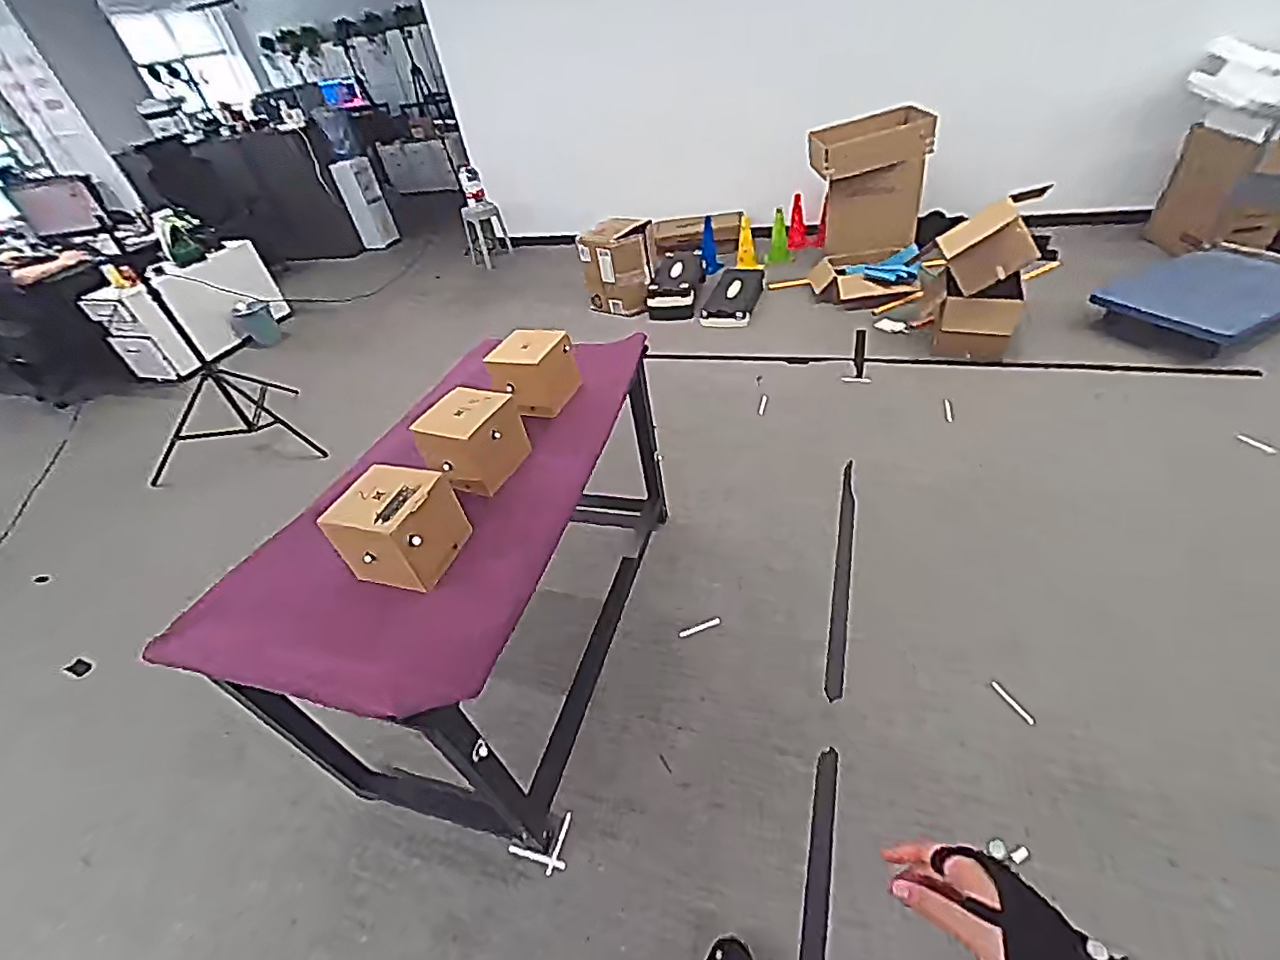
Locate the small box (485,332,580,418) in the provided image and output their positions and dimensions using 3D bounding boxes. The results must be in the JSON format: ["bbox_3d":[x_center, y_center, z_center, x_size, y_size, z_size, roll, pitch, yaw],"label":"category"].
[{"bbox_3d":[-0.279,-0.282,1.454,0.168,0.176,0.179,7,43,22],"label":"small box"}]

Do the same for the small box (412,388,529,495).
[{"bbox_3d":[-0.380,-0.088,1.250,0.168,0.176,0.179,12,45,23],"label":"small box"}]
